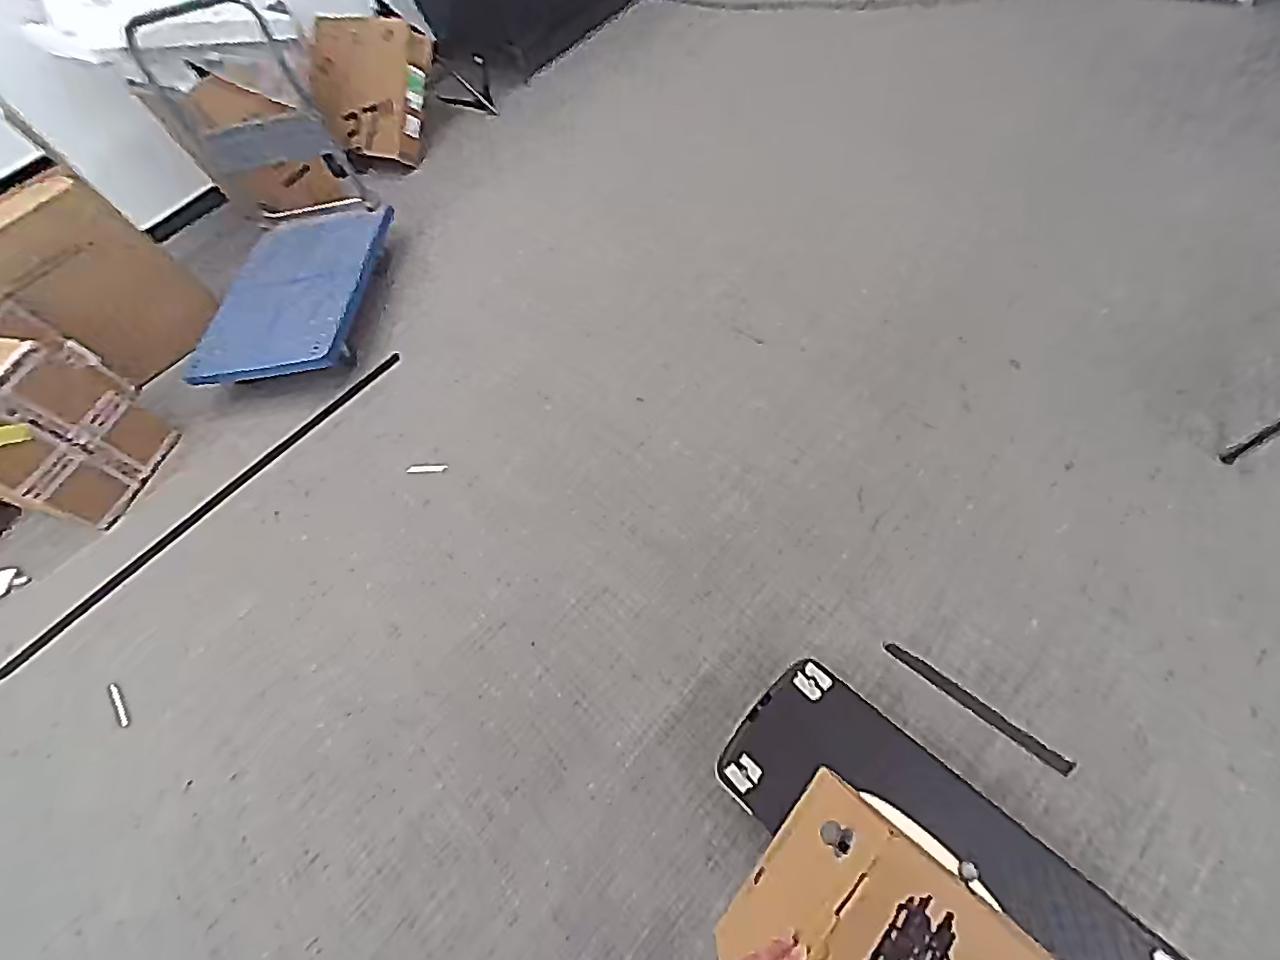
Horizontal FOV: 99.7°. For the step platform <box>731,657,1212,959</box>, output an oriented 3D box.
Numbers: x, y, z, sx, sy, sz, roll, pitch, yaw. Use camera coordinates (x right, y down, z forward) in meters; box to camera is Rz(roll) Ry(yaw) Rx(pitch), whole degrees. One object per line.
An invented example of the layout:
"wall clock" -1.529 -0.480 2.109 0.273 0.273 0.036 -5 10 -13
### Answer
"step platform" 0.486 0.621 0.900 0.684 0.204 0.286 36 73 29
